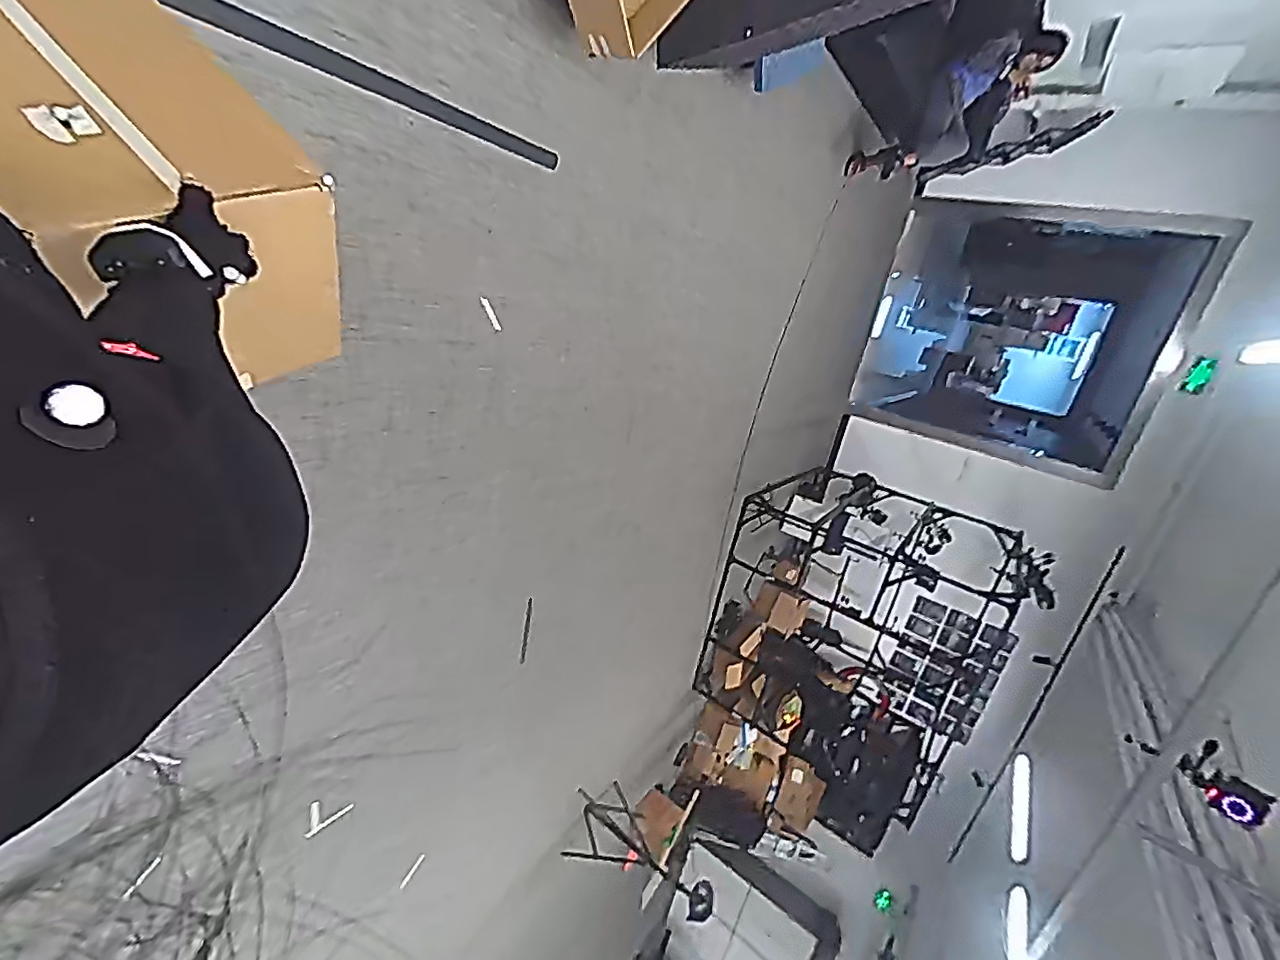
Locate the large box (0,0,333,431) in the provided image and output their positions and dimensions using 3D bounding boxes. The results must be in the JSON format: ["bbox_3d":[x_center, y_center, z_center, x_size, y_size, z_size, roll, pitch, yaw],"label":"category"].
[{"bbox_3d":[-0.678,-0.347,0.715,0.320,0.408,0.320,-40,174,-38],"label":"large box"}]
